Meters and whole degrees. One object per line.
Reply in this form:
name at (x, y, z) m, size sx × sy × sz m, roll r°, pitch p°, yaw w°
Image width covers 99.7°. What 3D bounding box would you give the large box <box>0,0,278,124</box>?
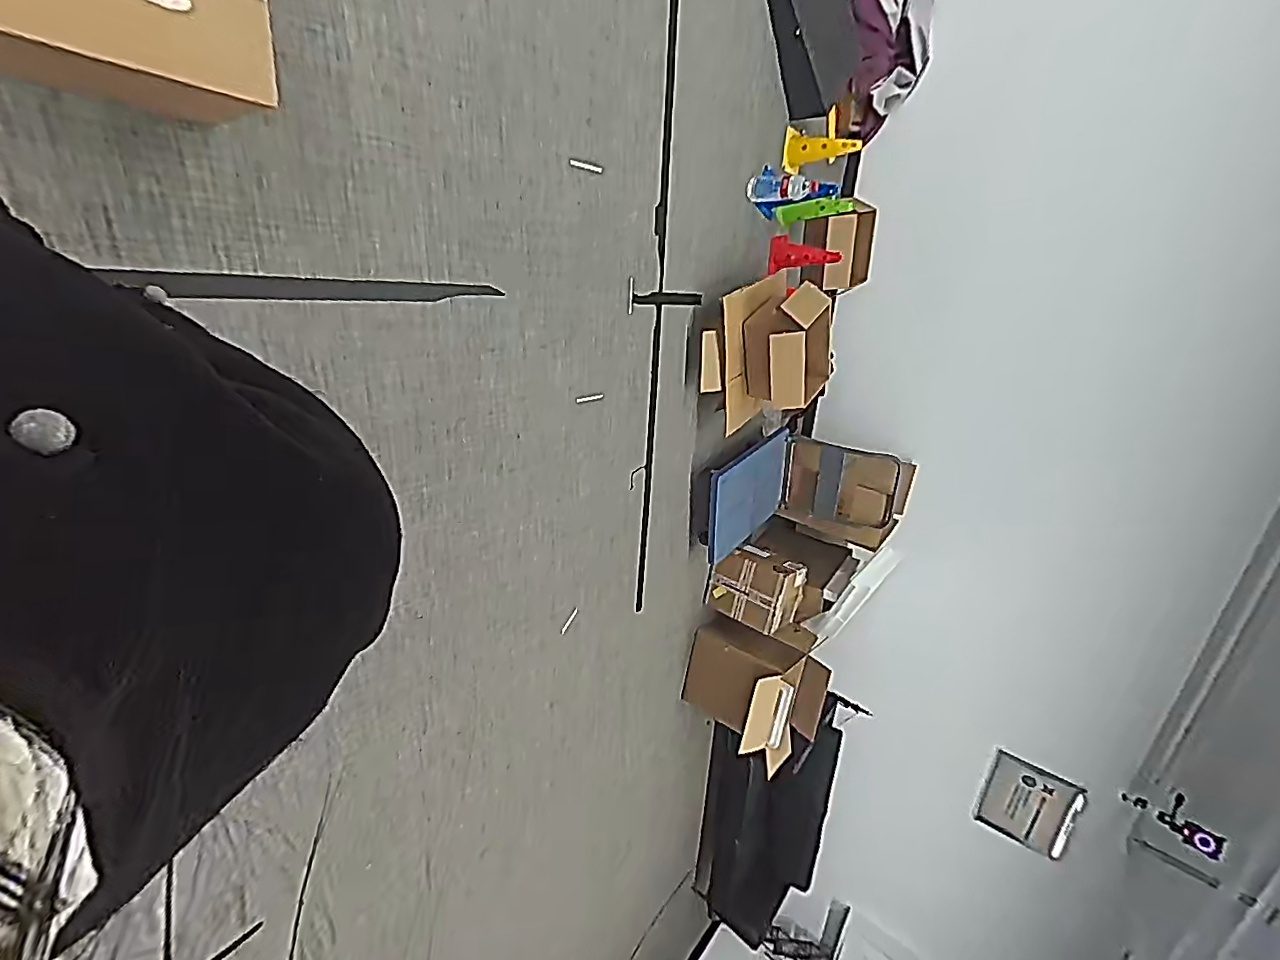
large box at (-0.841, -0.771, 0.798) m, size 0.408 × 0.320 × 0.320 m, roll -19°, pitch 121°, yaw -50°
